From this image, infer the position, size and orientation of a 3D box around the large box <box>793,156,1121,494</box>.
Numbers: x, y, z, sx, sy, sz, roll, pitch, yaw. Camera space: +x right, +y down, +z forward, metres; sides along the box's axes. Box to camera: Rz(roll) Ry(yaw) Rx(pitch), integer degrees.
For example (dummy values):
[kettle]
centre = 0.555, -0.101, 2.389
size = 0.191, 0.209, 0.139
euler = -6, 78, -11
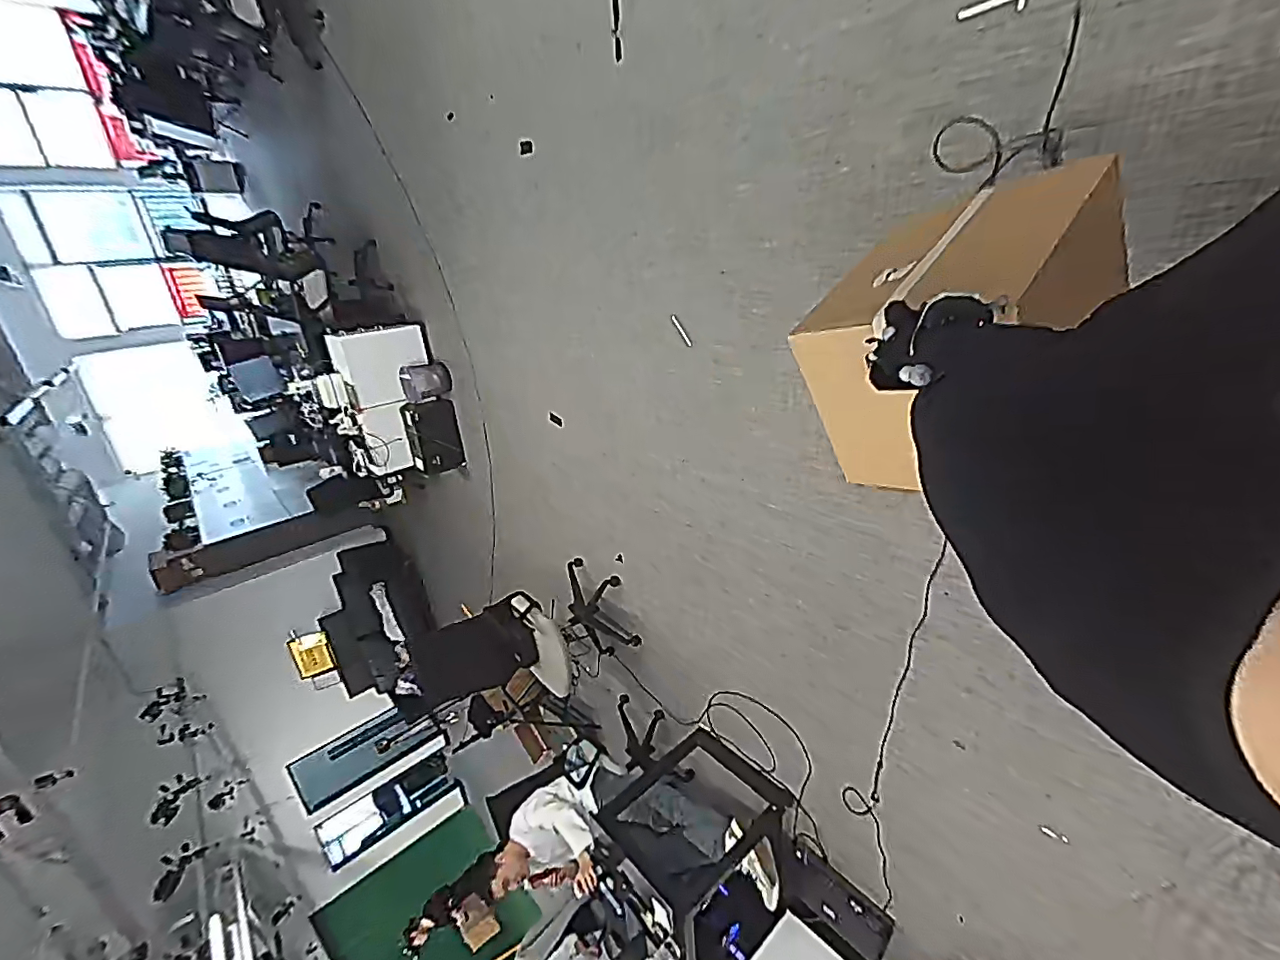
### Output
[large box]
centre = 0.526, -0.235, 0.878
size = 0.320, 0.408, 0.320
euler = 9, 140, 54
